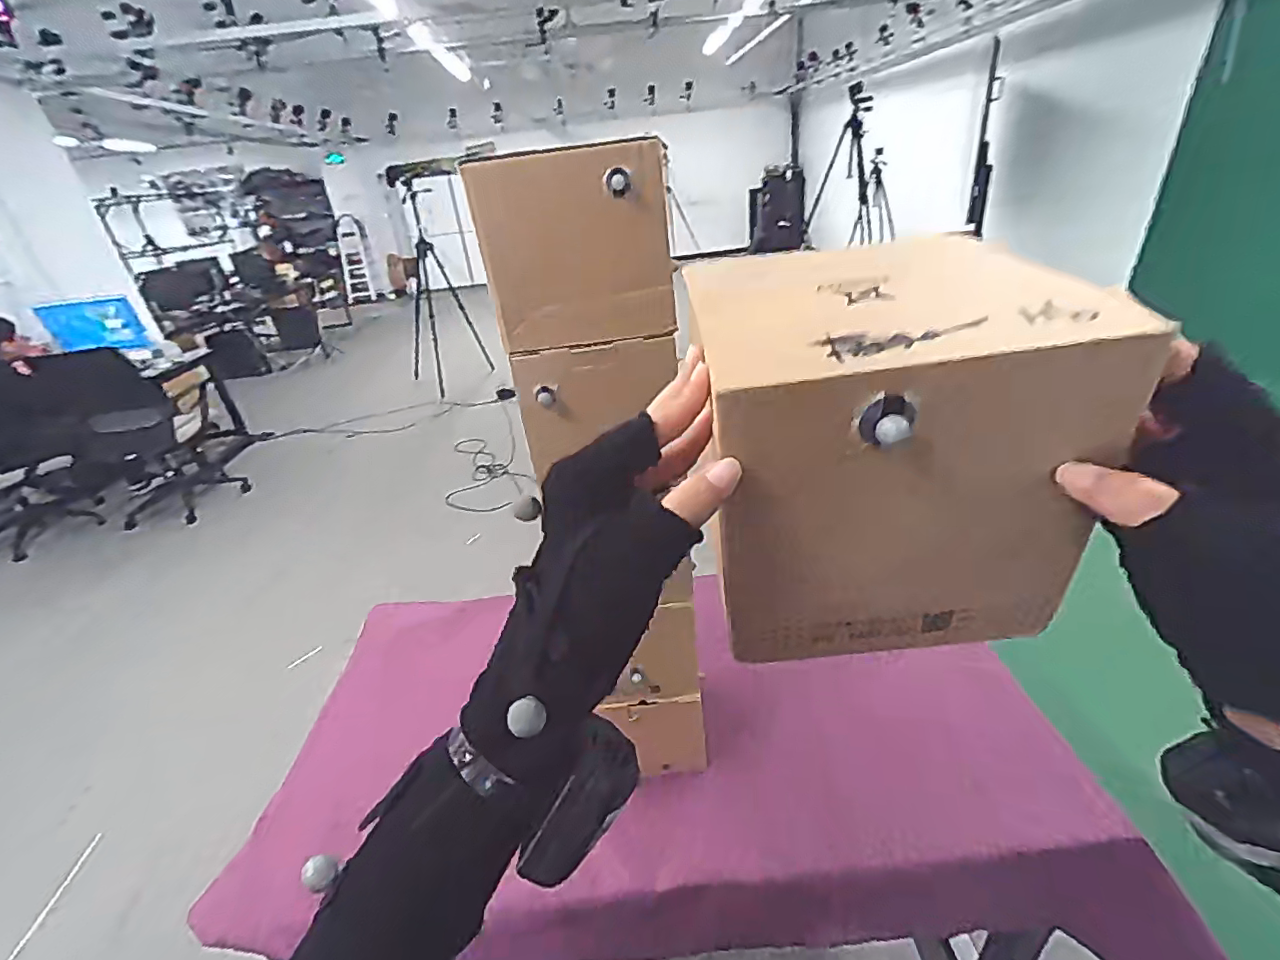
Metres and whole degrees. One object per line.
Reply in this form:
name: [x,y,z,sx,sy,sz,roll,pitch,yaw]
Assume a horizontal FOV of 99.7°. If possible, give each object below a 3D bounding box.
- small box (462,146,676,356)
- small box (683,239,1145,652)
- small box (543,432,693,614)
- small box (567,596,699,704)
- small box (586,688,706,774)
small box: [-0.061,-0.235,0.569,0.179,0.176,0.168,-6,27,1]
small box: [0.118,-0.027,0.318,0.168,0.176,0.179,-8,34,5]
small box: [-0.023,0.053,0.718,0.168,0.176,0.179,-7,29,1]
small box: [-0.006,0.197,0.792,0.168,0.176,0.179,-6,29,2]
small box: [0.012,0.344,0.864,0.168,0.176,0.179,-6,28,2]
